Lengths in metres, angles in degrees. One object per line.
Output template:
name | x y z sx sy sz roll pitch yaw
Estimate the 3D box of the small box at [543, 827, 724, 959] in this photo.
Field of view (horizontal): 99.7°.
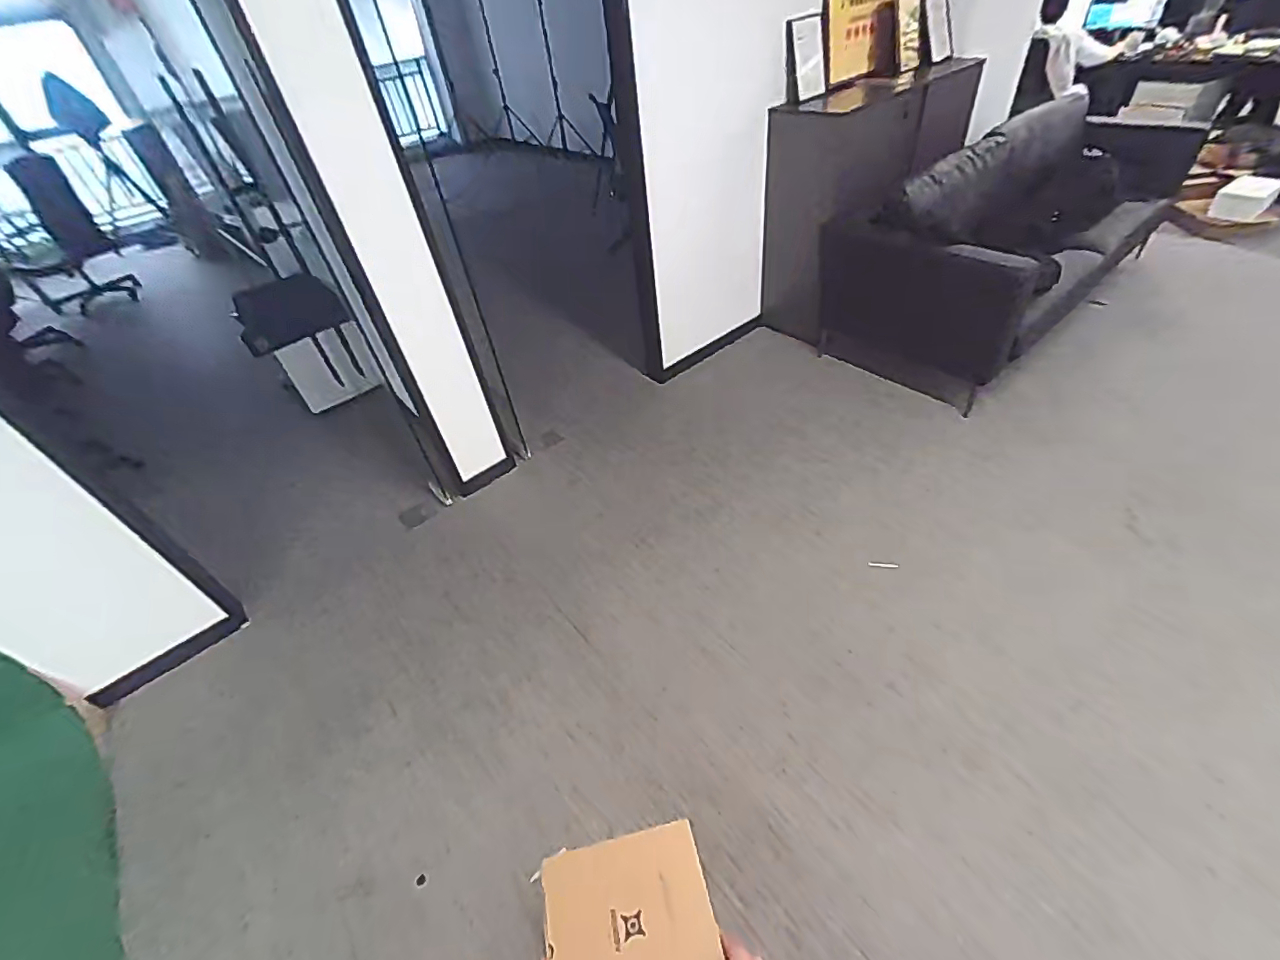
small box | -0.001 0.528 0.602 0.179 0.176 0.168 -11 39 -6
